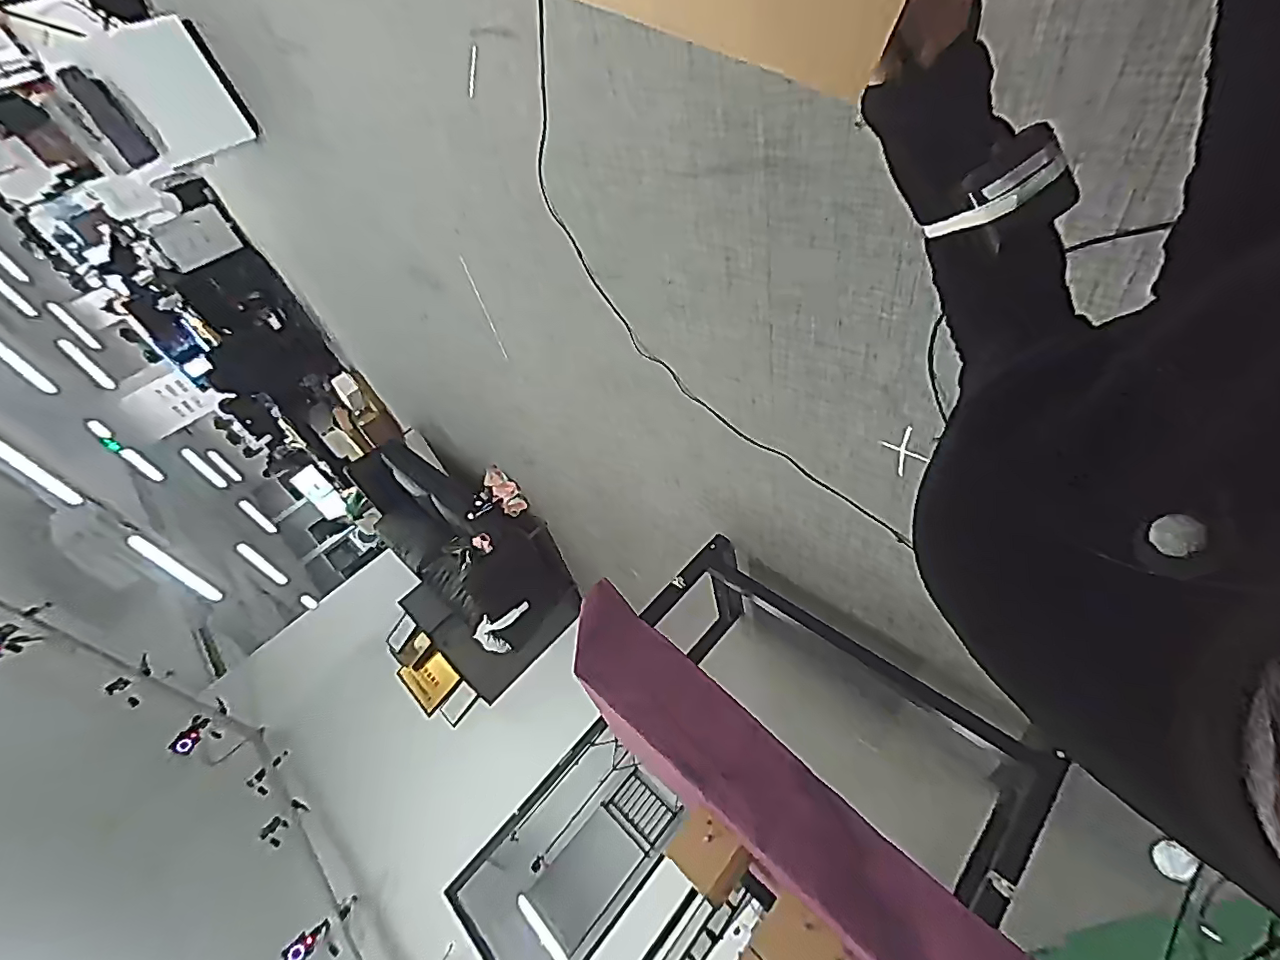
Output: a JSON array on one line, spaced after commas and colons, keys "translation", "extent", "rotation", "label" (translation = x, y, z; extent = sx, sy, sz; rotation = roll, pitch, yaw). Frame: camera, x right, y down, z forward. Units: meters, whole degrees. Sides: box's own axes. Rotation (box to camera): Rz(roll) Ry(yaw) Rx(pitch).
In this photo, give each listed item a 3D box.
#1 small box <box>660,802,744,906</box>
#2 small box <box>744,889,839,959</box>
[{"translation": [0.192, 1.109, 1.611], "extent": [0.168, 0.176, 0.179], "rotation": [24, 146, 42], "label": "small box"}, {"translation": [0.399, 1.223, 1.427], "extent": [0.179, 0.176, 0.168], "rotation": [29, 150, 38], "label": "small box"}]
